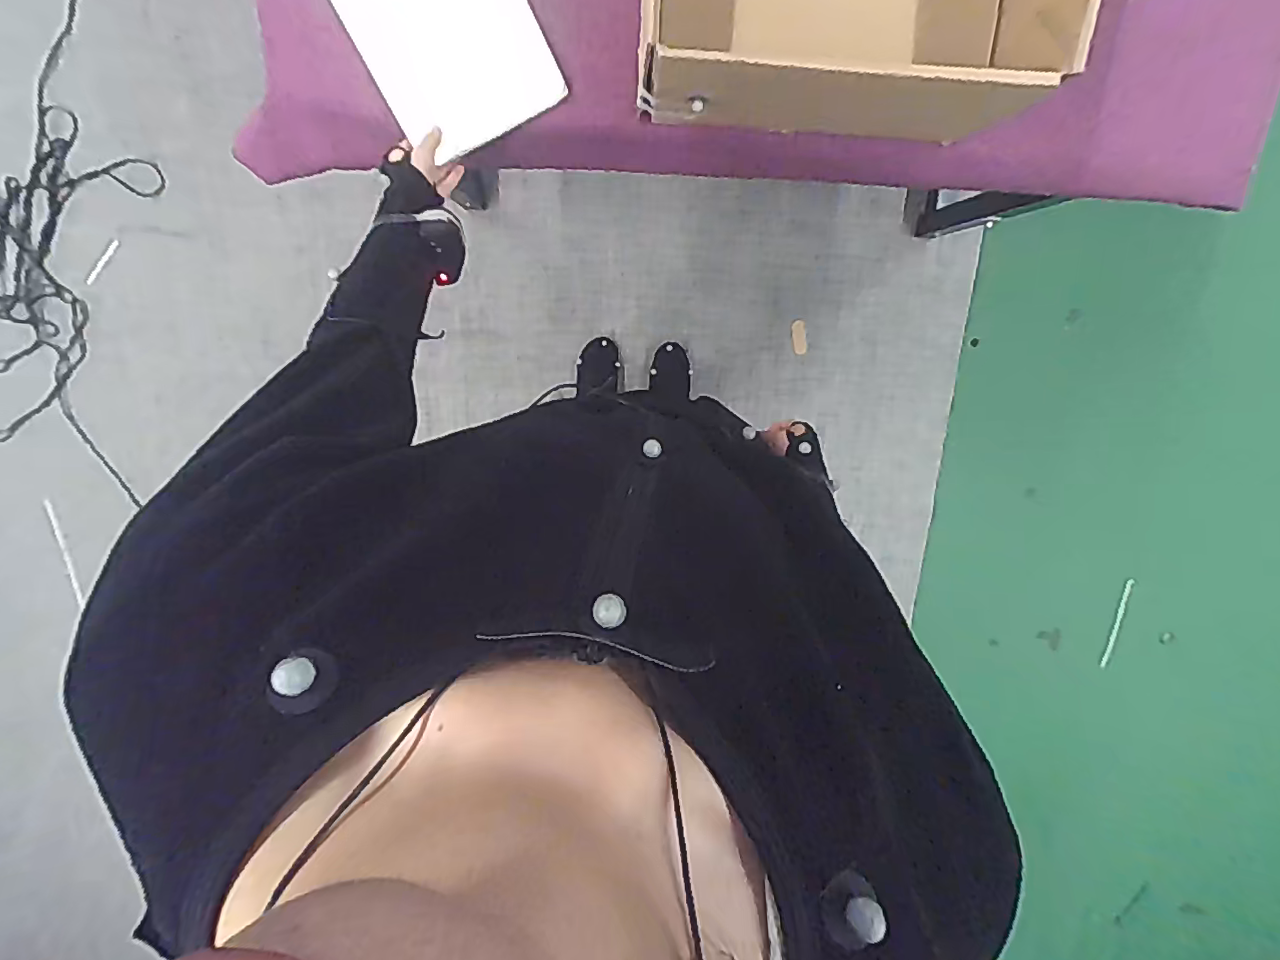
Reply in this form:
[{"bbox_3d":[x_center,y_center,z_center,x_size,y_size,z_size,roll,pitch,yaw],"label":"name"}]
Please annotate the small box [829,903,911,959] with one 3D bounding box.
[{"bbox_3d":[0.636,1.314,1.495,0.168,0.176,0.179,-12,105,2],"label":"small box"}]
